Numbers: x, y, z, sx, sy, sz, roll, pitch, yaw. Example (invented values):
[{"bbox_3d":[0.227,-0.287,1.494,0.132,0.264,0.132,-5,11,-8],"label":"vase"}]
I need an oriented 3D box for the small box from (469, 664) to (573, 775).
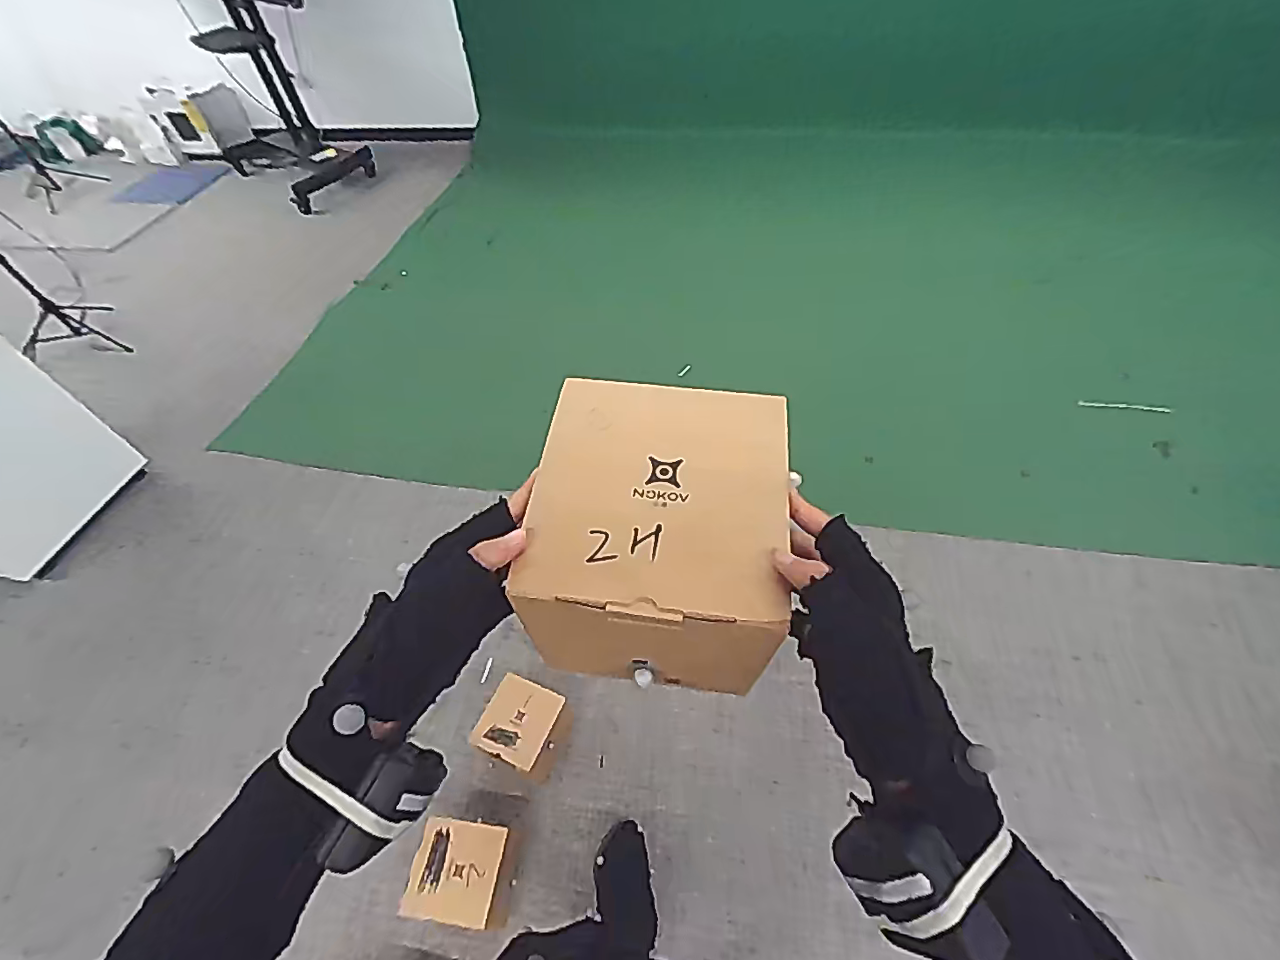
[{"bbox_3d":[-0.276,0.583,1.309,0.168,0.176,0.179,18,54,16],"label":"small box"}]
